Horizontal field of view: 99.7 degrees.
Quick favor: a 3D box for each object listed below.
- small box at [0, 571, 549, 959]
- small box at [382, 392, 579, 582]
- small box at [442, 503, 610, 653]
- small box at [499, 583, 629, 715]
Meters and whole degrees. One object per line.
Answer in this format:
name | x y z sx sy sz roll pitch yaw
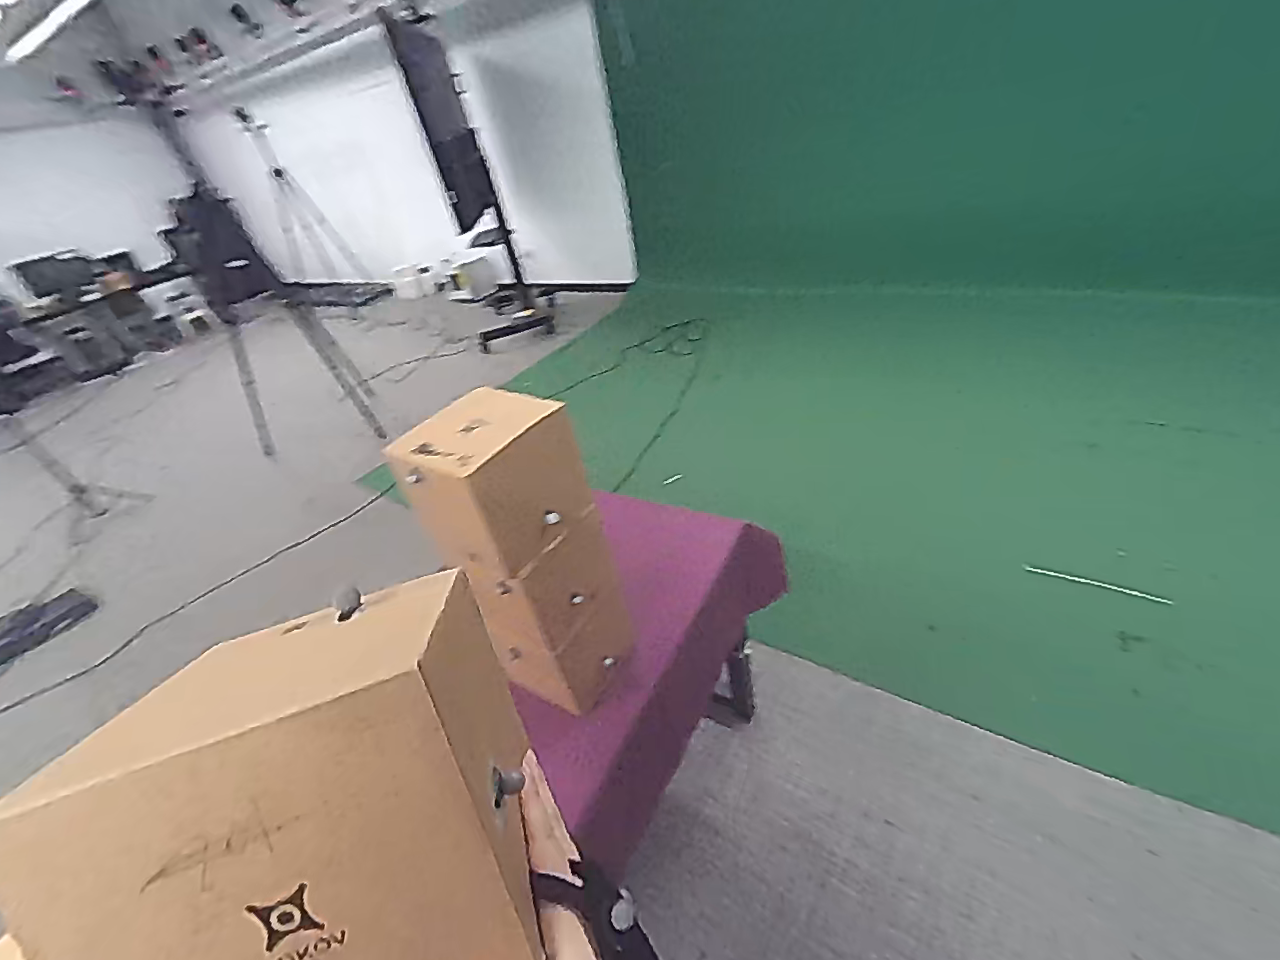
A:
small box | -0.150 0.173 0.297 0.168 0.179 0.176 -17 10 -9
small box | -0.200 0.004 0.730 0.168 0.176 0.179 15 43 33
small box | -0.171 0.133 0.828 0.179 0.176 0.168 14 43 31
small box | -0.143 0.264 0.921 0.179 0.176 0.168 13 44 31
